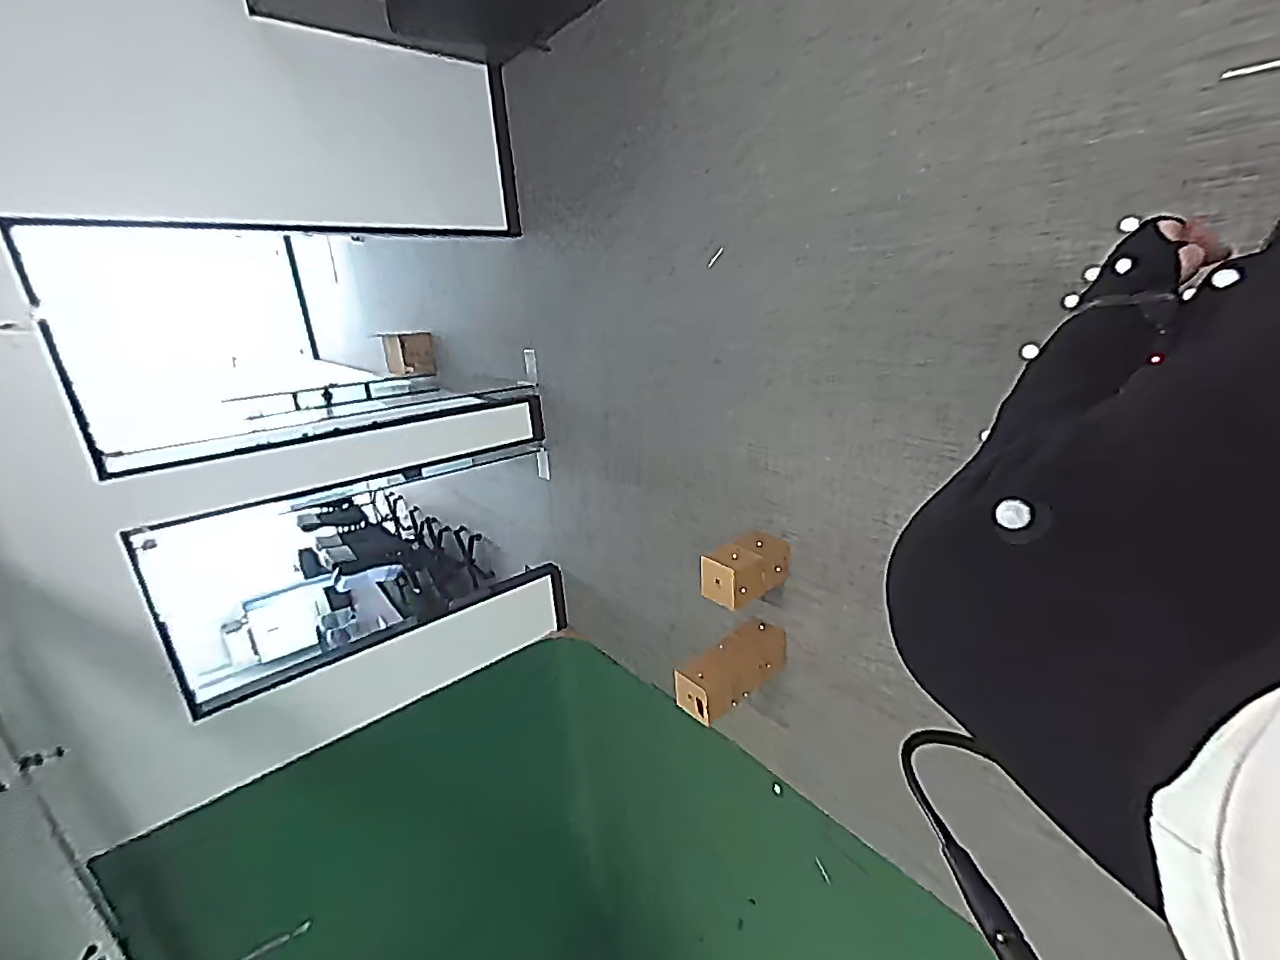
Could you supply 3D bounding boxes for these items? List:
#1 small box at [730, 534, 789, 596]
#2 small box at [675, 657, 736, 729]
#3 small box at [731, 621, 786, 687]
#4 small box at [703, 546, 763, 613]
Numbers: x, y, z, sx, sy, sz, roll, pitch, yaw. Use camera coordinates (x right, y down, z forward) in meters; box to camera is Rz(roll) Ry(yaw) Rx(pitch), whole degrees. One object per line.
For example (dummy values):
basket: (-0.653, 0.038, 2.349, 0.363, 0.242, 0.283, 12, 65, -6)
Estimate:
small box: (0.477, 0.334, 2.168, 0.179, 0.176, 0.168, 20, 118, 46)
small box: (0.258, 0.812, 2.088, 0.179, 0.176, 0.168, 17, 117, 49)
small box: (0.502, 0.731, 2.292, 0.168, 0.176, 0.179, 18, 117, 48)
small box: (0.356, 0.370, 2.065, 0.168, 0.176, 0.179, 18, 119, 48)
